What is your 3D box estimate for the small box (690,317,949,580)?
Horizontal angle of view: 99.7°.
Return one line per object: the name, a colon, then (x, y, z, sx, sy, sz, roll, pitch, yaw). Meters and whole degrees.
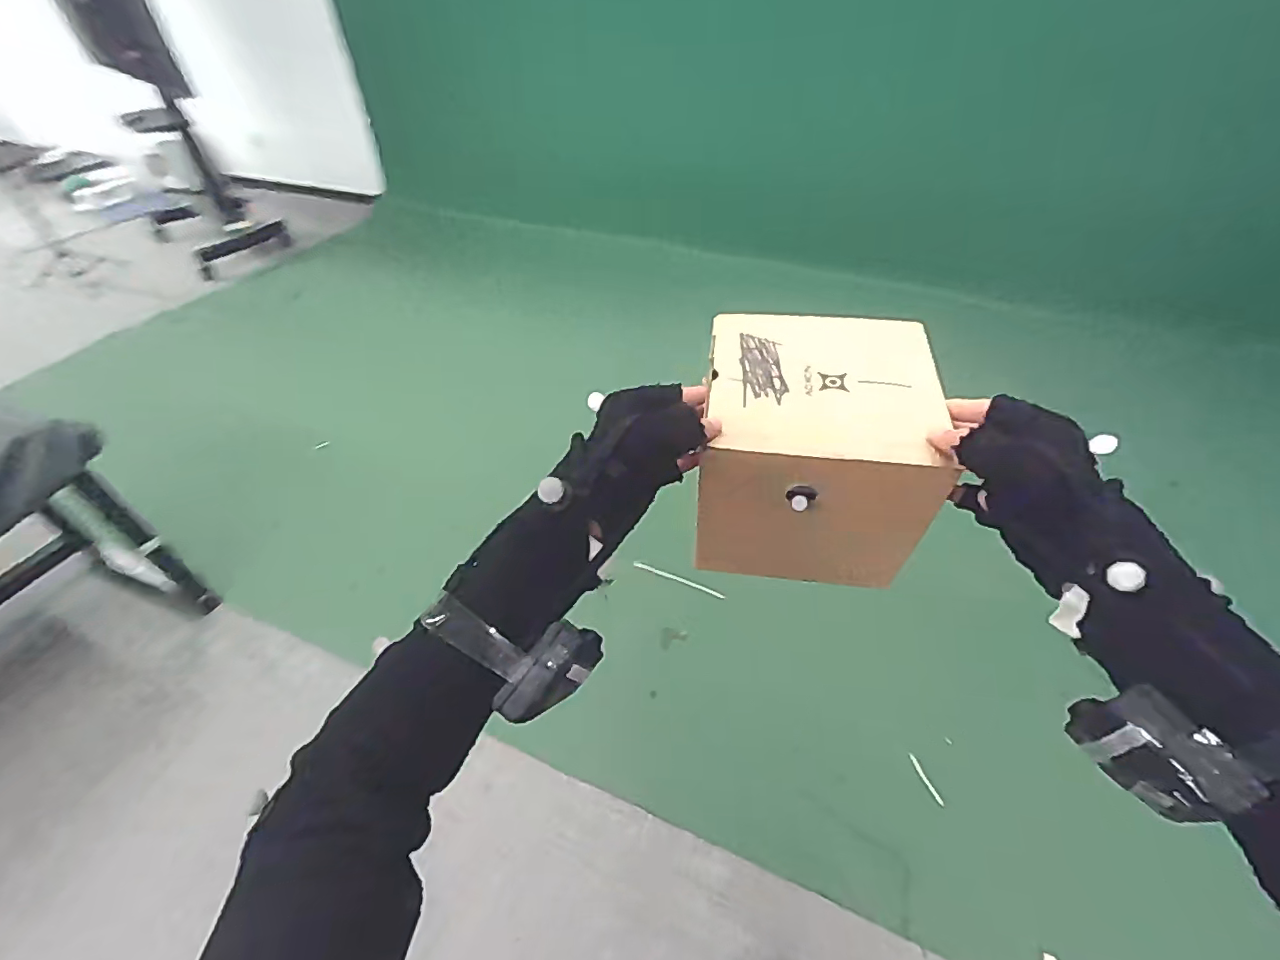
small box: (0.138, -0.025, 0.485, 0.179, 0.176, 0.168, 5, 51, 6)
